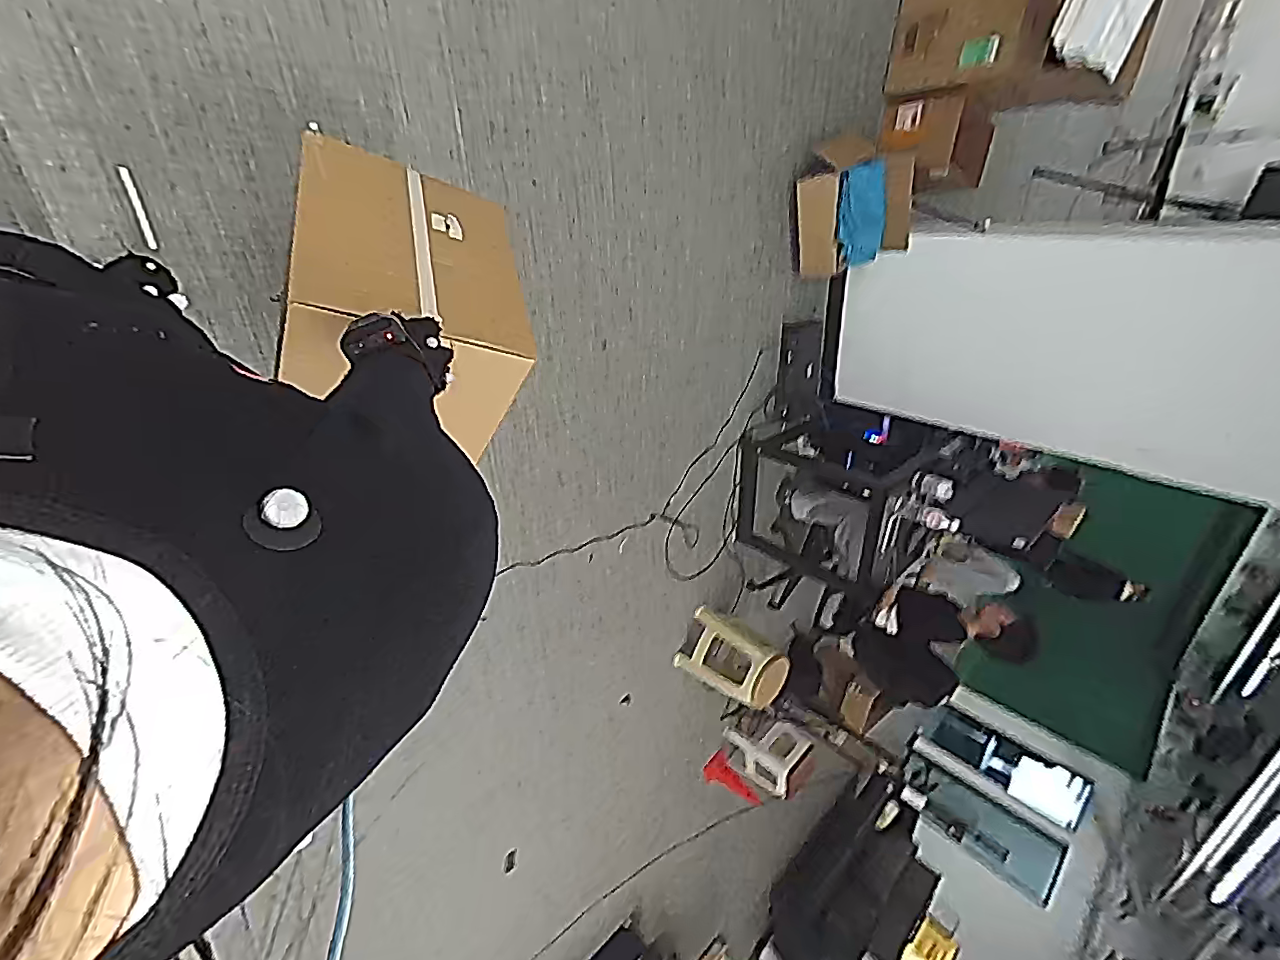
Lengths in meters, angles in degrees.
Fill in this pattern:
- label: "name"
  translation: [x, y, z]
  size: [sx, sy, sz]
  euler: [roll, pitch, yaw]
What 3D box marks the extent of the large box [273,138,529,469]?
- label: "large box"
  translation: [-0.424, -0.269, 0.913]
  size: [0.320, 0.408, 0.320]
  euler: [6, 141, -37]
